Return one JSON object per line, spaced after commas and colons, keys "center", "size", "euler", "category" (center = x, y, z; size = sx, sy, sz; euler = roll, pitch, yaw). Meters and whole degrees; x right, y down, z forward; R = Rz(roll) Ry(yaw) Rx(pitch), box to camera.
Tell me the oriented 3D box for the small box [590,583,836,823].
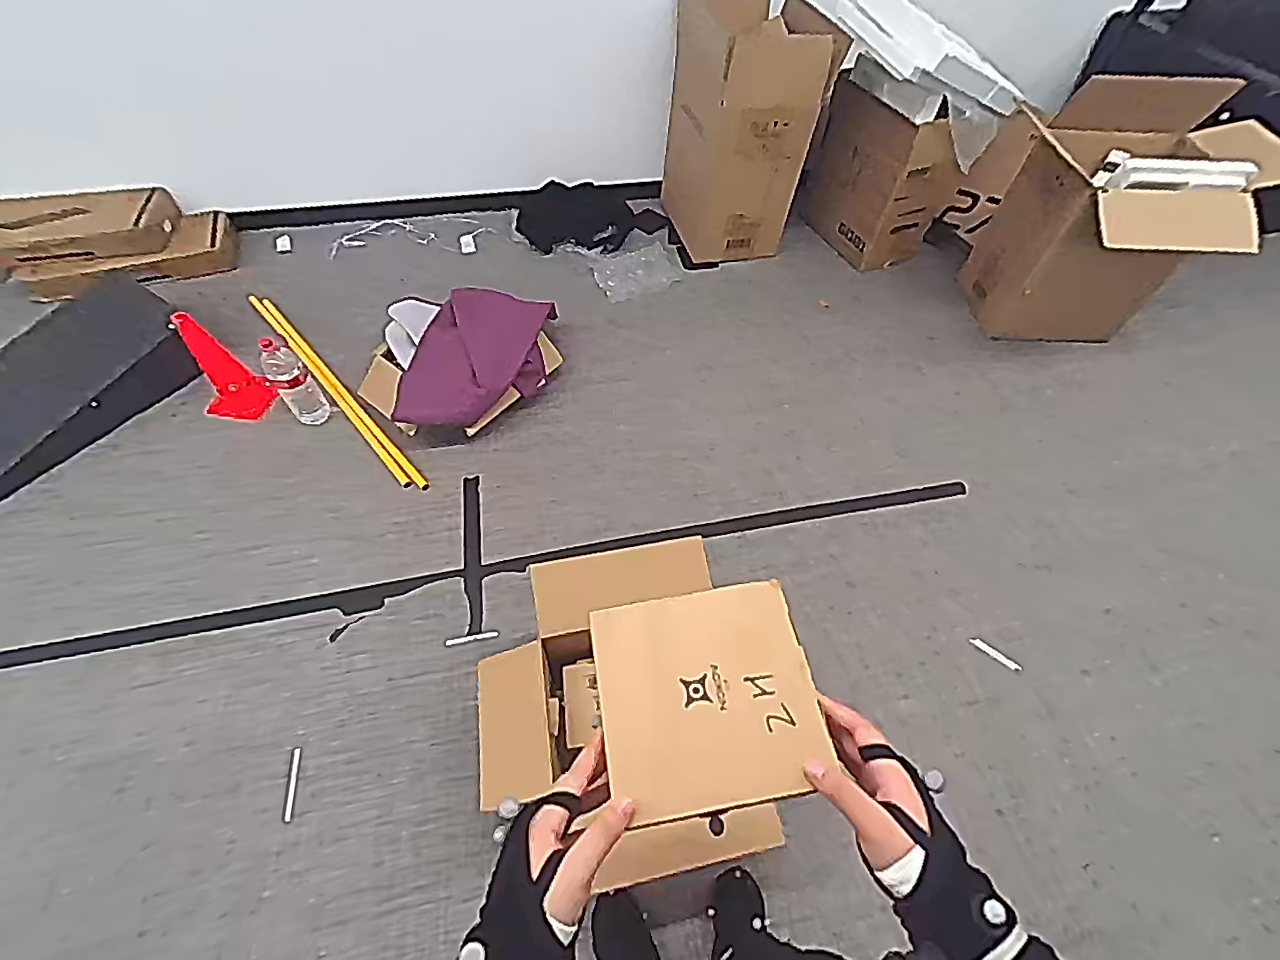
{"center": [0.055, 0.216, 0.512], "size": [0.179, 0.176, 0.168], "euler": [-9, 58, -4], "category": "small box"}
